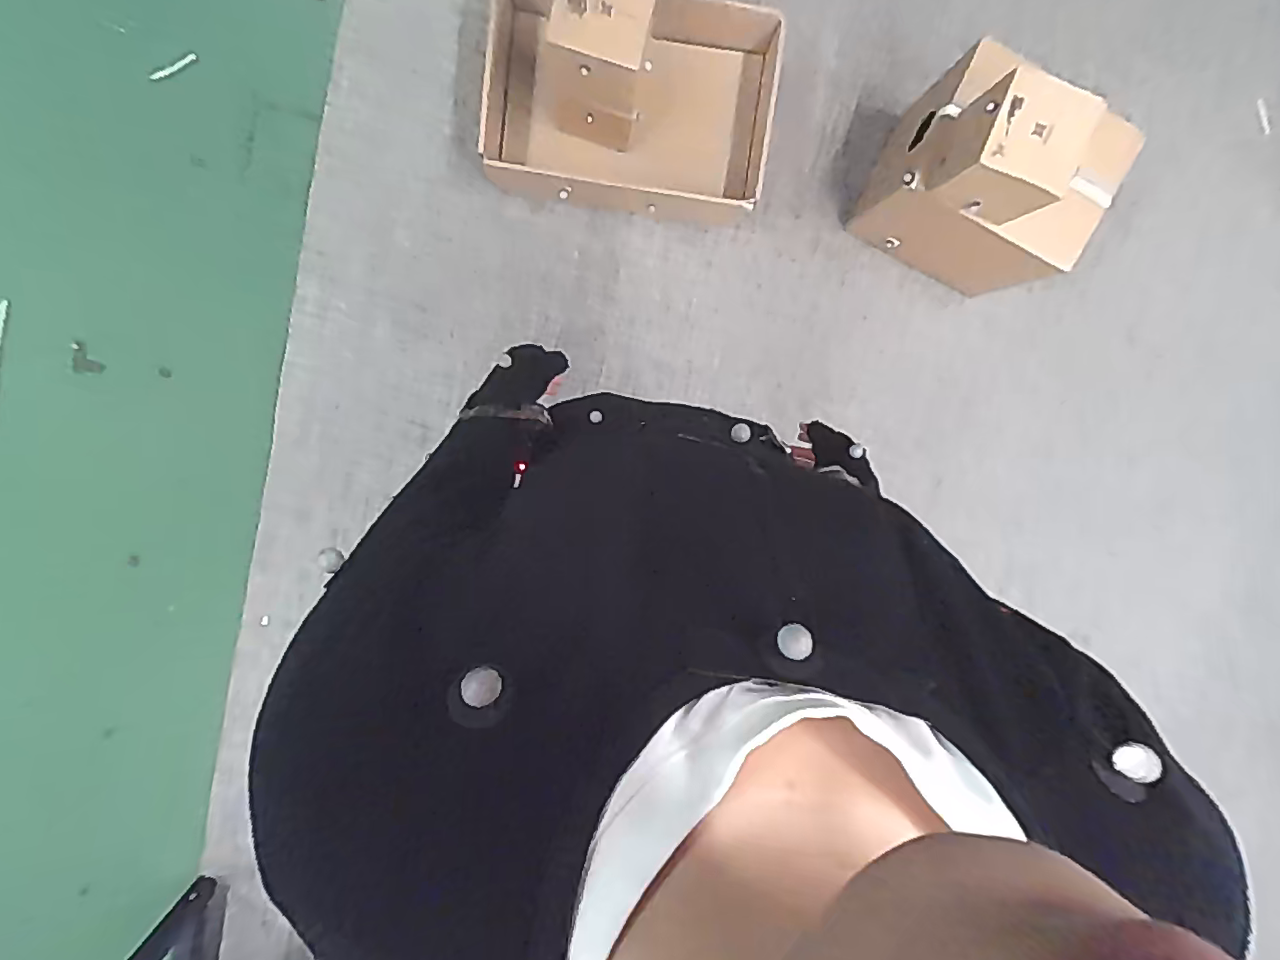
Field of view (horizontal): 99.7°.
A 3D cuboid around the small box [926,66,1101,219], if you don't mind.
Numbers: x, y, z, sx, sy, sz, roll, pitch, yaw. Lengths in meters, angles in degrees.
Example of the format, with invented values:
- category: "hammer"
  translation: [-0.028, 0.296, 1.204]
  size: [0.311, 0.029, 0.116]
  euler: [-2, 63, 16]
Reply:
- category: "small box"
  translation: [0.687, -0.616, 1.017]
  size: [0.179, 0.176, 0.168]
  euler: [19, 99, -6]

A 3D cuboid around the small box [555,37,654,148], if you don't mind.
- category: "small box"
  translation: [-0.082, -0.876, 1.202]
  size: [0.179, 0.176, 0.168]
  euler: [13, 98, -8]

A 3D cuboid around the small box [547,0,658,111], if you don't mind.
- category: "small box"
  translation: [-0.071, -0.853, 1.039]
  size: [0.179, 0.176, 0.168]
  euler: [13, 98, -7]
